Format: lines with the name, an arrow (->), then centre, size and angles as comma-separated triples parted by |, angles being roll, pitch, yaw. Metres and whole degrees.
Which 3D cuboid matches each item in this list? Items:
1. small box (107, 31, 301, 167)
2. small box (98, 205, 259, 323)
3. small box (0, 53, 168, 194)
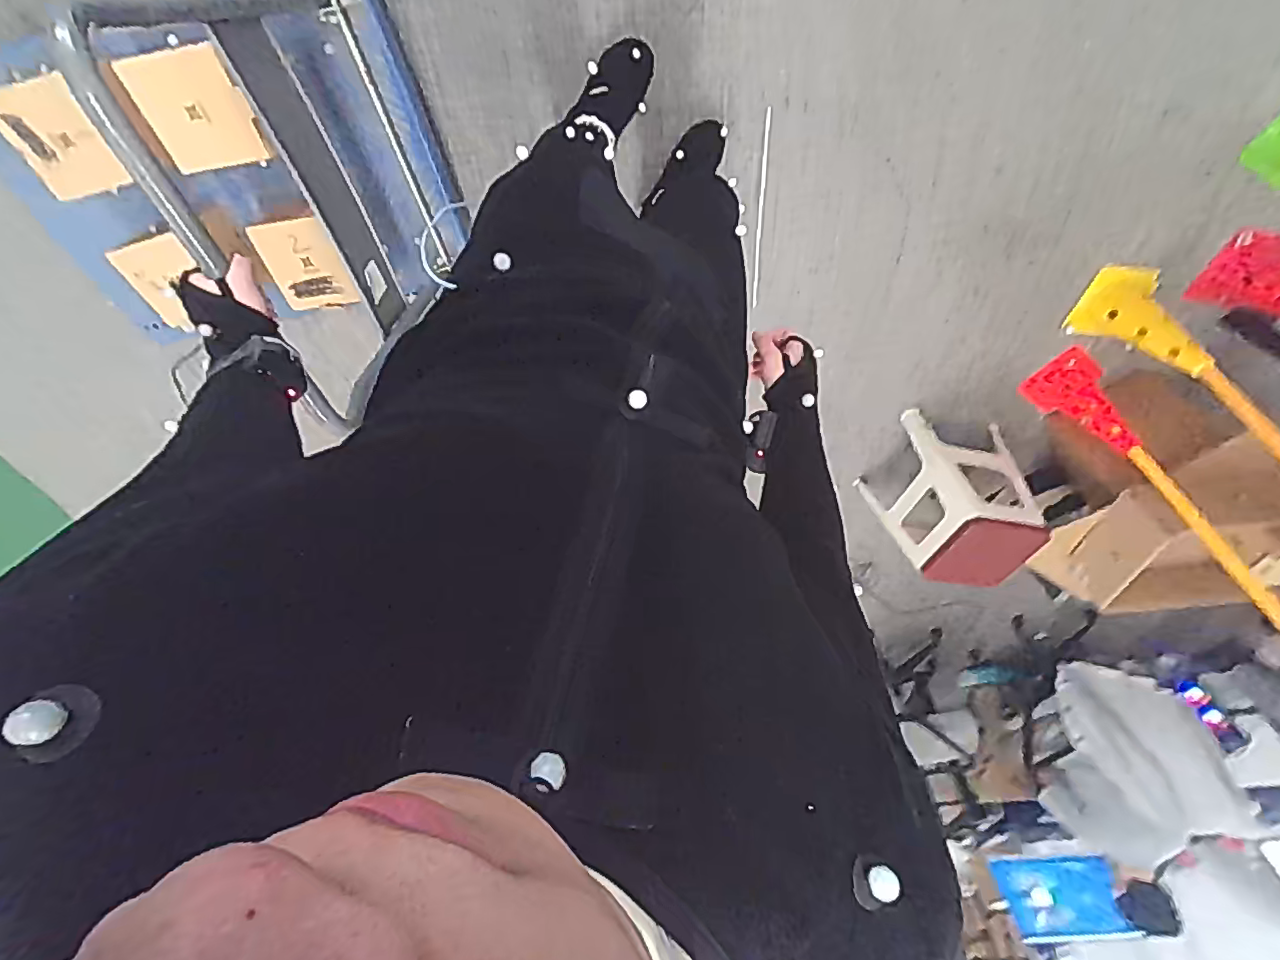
small box -> -0.759, -0.681, 0.966 | 0.179, 0.176, 0.168 | -8, 133, 3
small box -> -0.961, -0.464, 1.153 | 0.179, 0.176, 0.168 | -12, 132, 7
small box -> -1.004, -0.645, 0.978 | 0.179, 0.176, 0.168 | -11, 134, 5
